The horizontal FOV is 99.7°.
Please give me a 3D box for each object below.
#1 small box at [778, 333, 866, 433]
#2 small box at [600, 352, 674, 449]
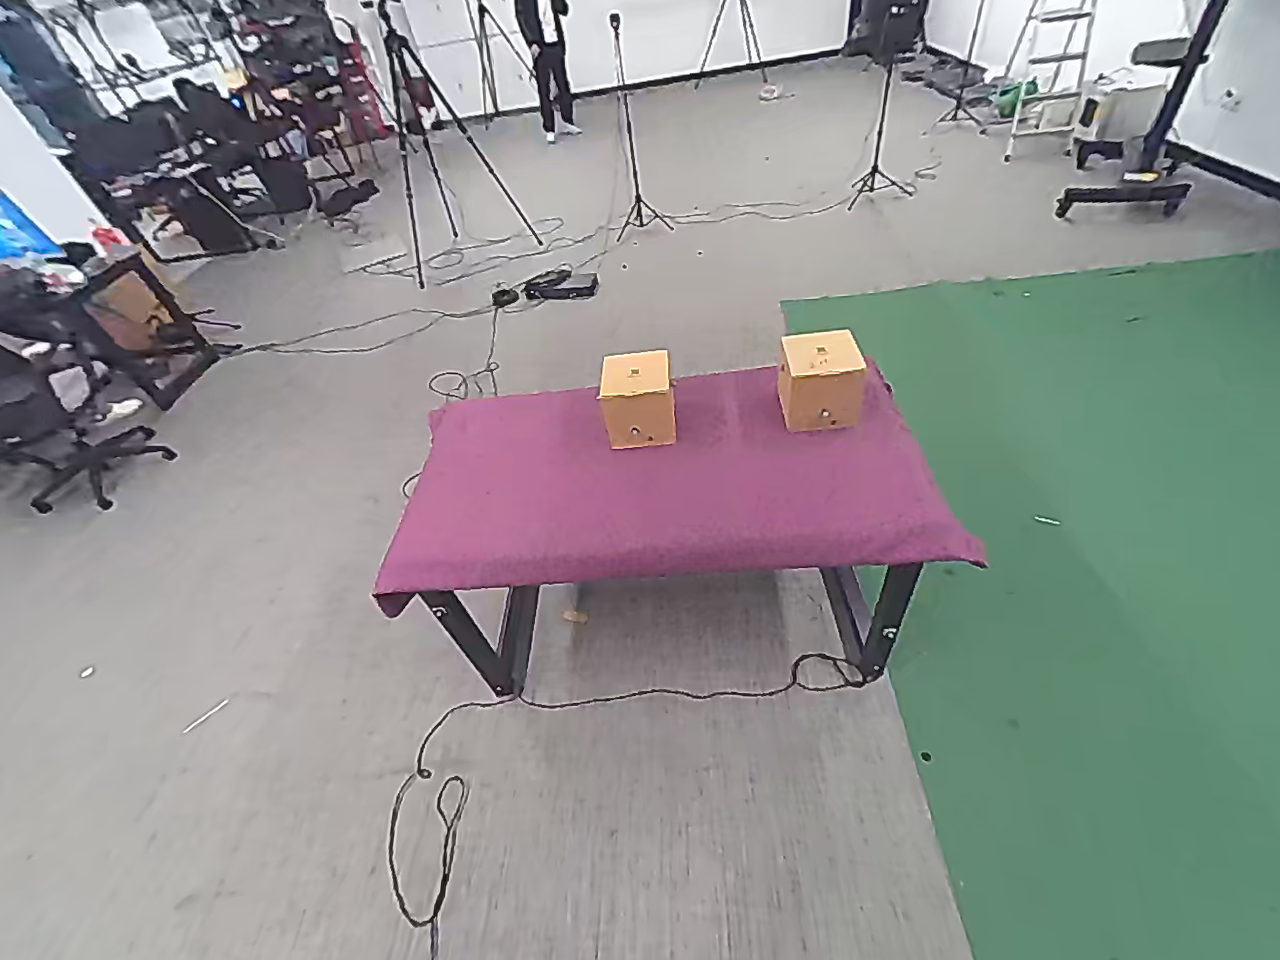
[{"bbox_3d":[0.434,-0.234,1.318,0.168,0.176,0.179,-4,45,7],"label":"small box"},{"bbox_3d":[-0.003,-0.200,1.367,0.168,0.176,0.179,-4,46,5],"label":"small box"}]
